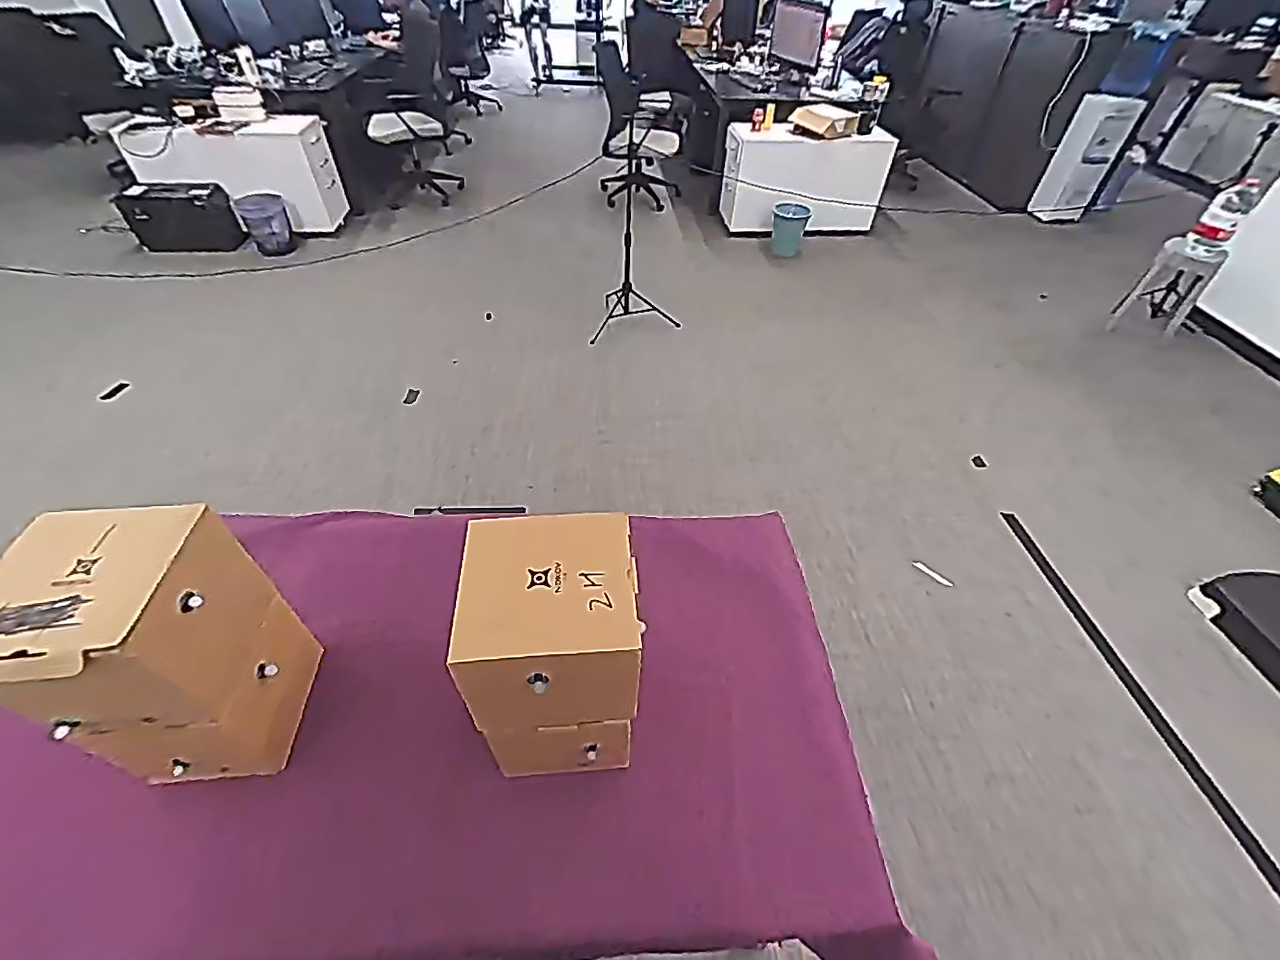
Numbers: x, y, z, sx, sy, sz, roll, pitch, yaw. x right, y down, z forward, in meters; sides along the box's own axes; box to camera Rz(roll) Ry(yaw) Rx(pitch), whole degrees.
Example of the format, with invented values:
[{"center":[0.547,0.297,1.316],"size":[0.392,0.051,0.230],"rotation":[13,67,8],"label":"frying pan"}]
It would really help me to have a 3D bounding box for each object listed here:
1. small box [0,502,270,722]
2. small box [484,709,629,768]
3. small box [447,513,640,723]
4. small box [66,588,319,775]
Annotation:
[{"center":[-0.544,0.146,0.585],"size":[0.168,0.176,0.179],"rotation":[-3,46,-6],"label":"small box"},{"center":[-0.100,0.267,0.717],"size":[0.168,0.176,0.179],"rotation":[-1,46,-4],"label":"small box"},{"center":[-0.094,0.155,0.597],"size":[0.179,0.176,0.168],"rotation":[-2,47,-5],"label":"small box"},{"center":[-0.549,0.261,0.703],"size":[0.168,0.176,0.179],"rotation":[-2,47,-5],"label":"small box"}]
